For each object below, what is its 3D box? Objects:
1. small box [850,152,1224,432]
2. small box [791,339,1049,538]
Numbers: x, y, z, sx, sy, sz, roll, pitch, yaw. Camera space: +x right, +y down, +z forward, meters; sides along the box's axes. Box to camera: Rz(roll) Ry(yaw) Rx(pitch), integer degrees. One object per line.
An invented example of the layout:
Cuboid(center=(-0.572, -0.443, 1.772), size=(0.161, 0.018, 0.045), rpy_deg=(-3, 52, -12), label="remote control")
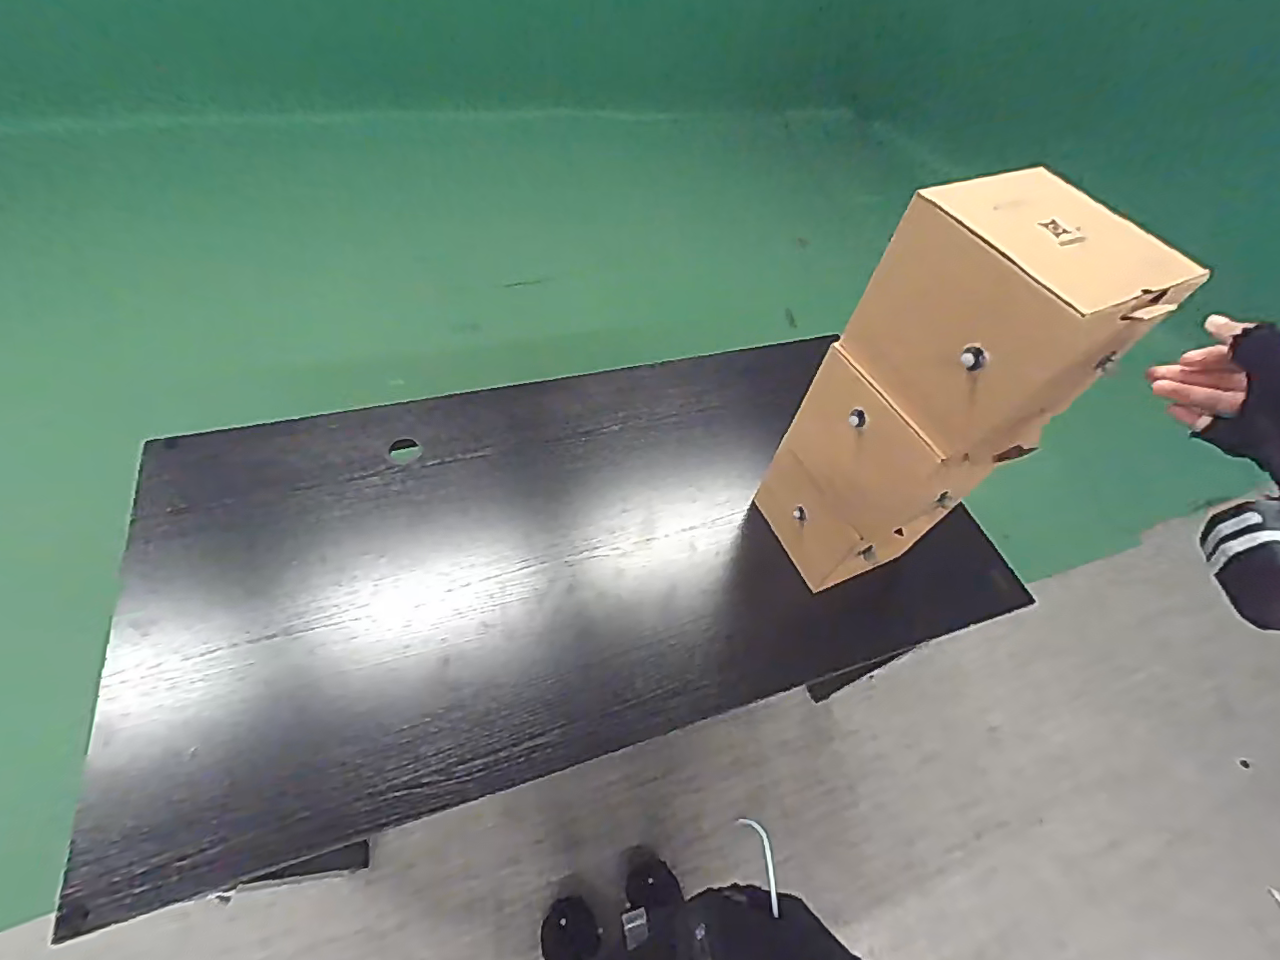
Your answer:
Cuboid(center=(0.334, -0.164, 0.496), size=(0.168, 0.176, 0.179), rpy_deg=(-20, 60, -19), label="small box")
Cuboid(center=(0.310, -0.061, 0.642), size=(0.168, 0.176, 0.179), rpy_deg=(-20, 61, -18), label="small box")
